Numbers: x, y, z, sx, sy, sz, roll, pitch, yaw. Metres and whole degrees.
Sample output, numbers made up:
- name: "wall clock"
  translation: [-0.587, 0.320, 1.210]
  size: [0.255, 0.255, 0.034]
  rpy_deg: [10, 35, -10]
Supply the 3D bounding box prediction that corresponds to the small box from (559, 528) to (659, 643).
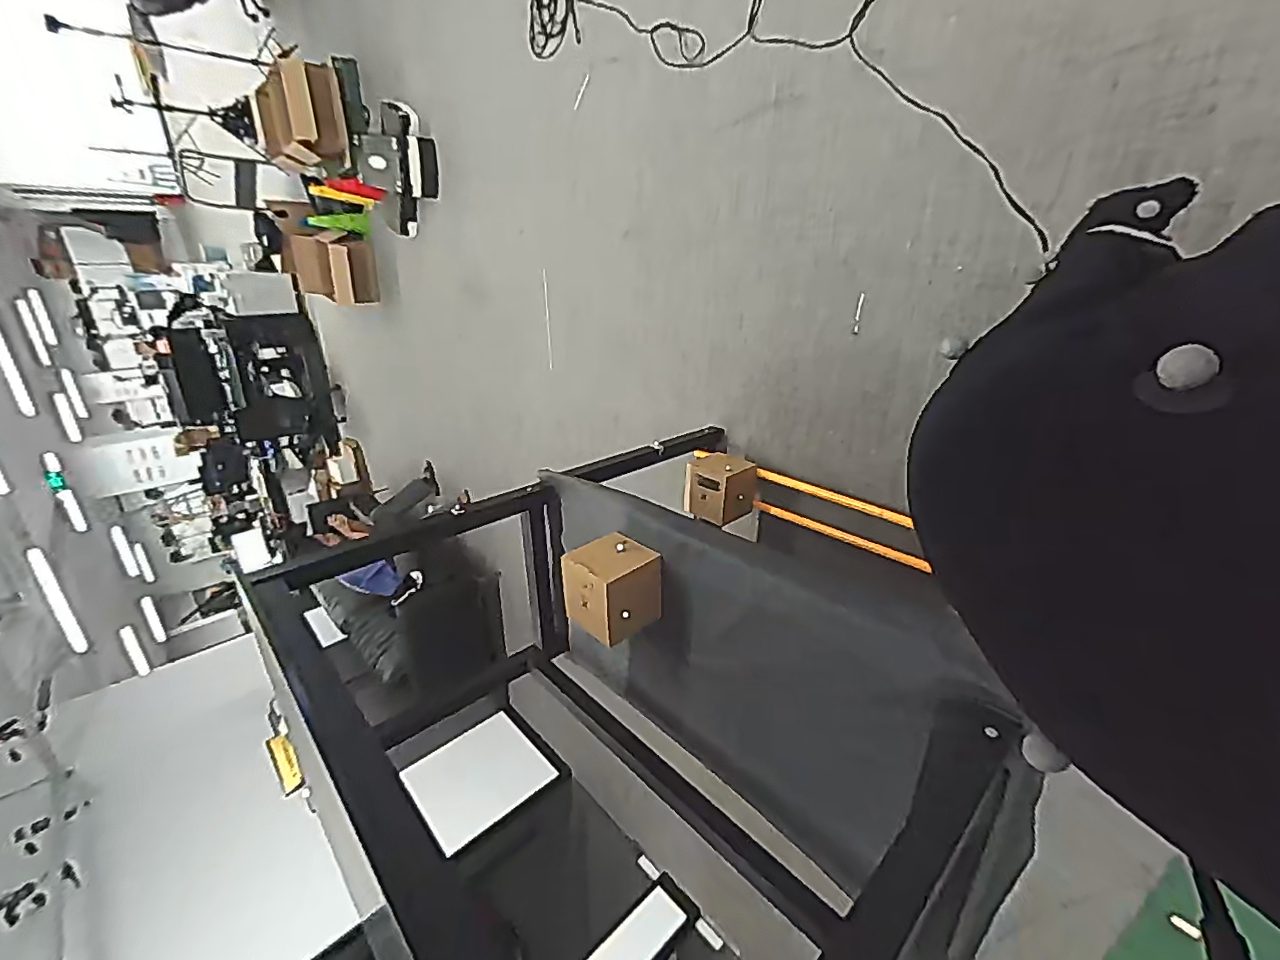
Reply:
- name: "small box"
  translation: [-0.068, 0.238, 1.264]
  size: [0.168, 0.176, 0.179]
  rpy_deg: [21, 121, 42]
